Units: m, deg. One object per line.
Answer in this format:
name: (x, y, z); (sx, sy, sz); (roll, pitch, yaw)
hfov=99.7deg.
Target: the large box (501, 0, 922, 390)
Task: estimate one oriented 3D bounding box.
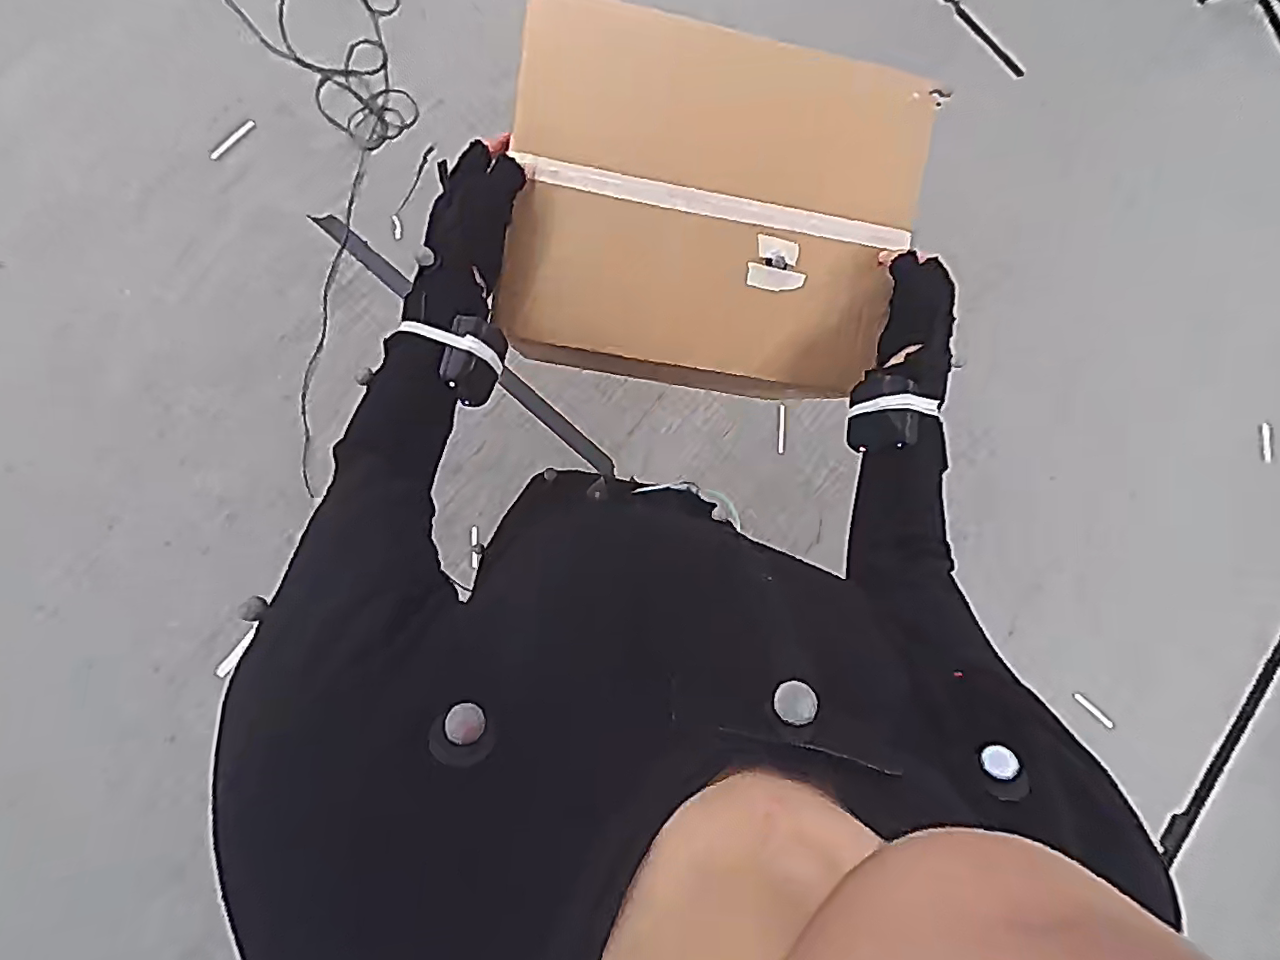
large box: (0.055, -0.298, 0.688); (0.408, 0.320, 0.320); (7, 98, -8)
